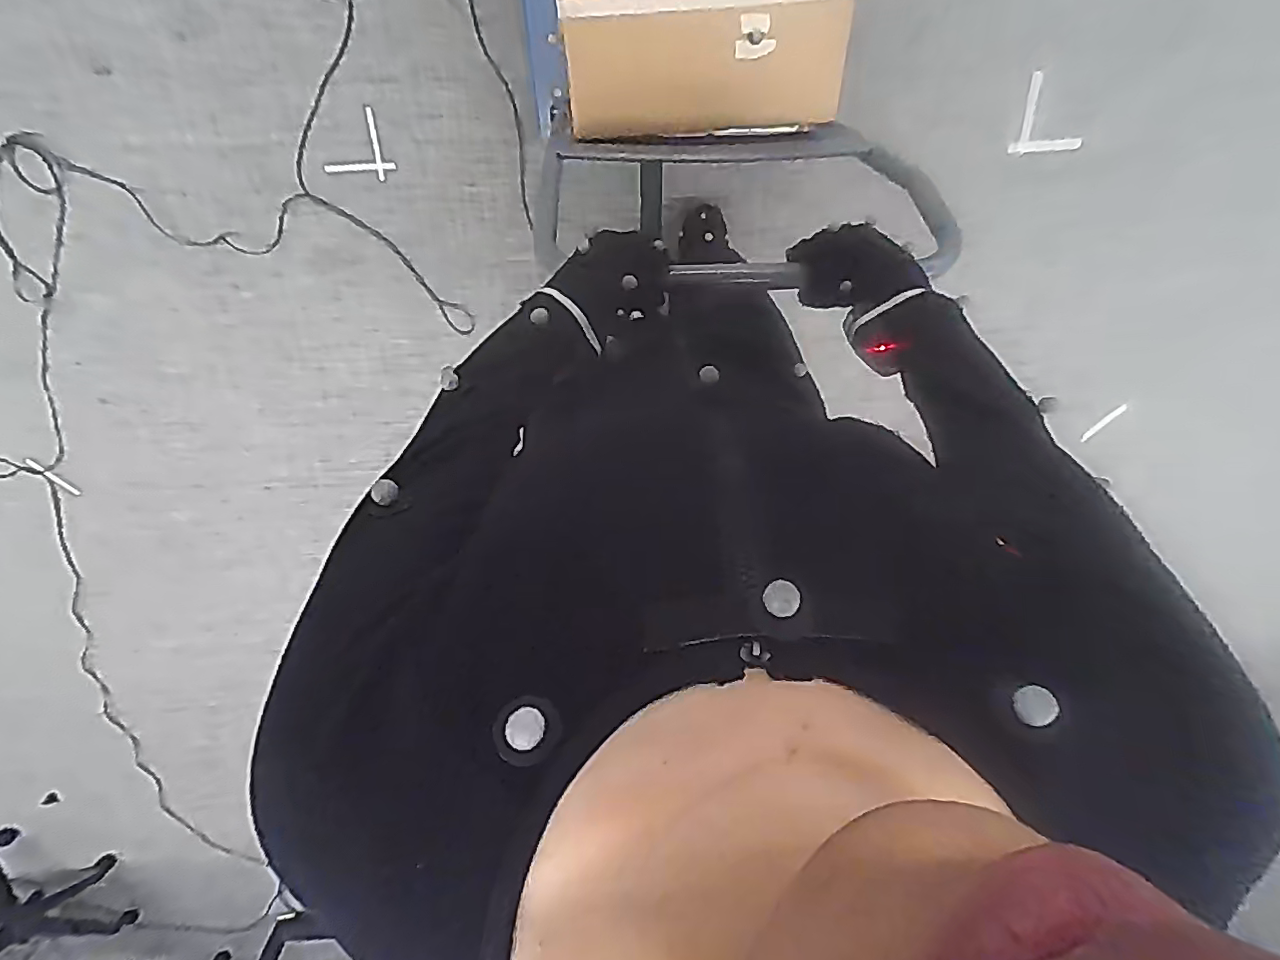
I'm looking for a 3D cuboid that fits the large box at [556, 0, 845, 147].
[{"bbox_3d":[0.073,-0.741,0.849,0.408,0.320,0.320,-5,130,-2],"label":"large box"}]
